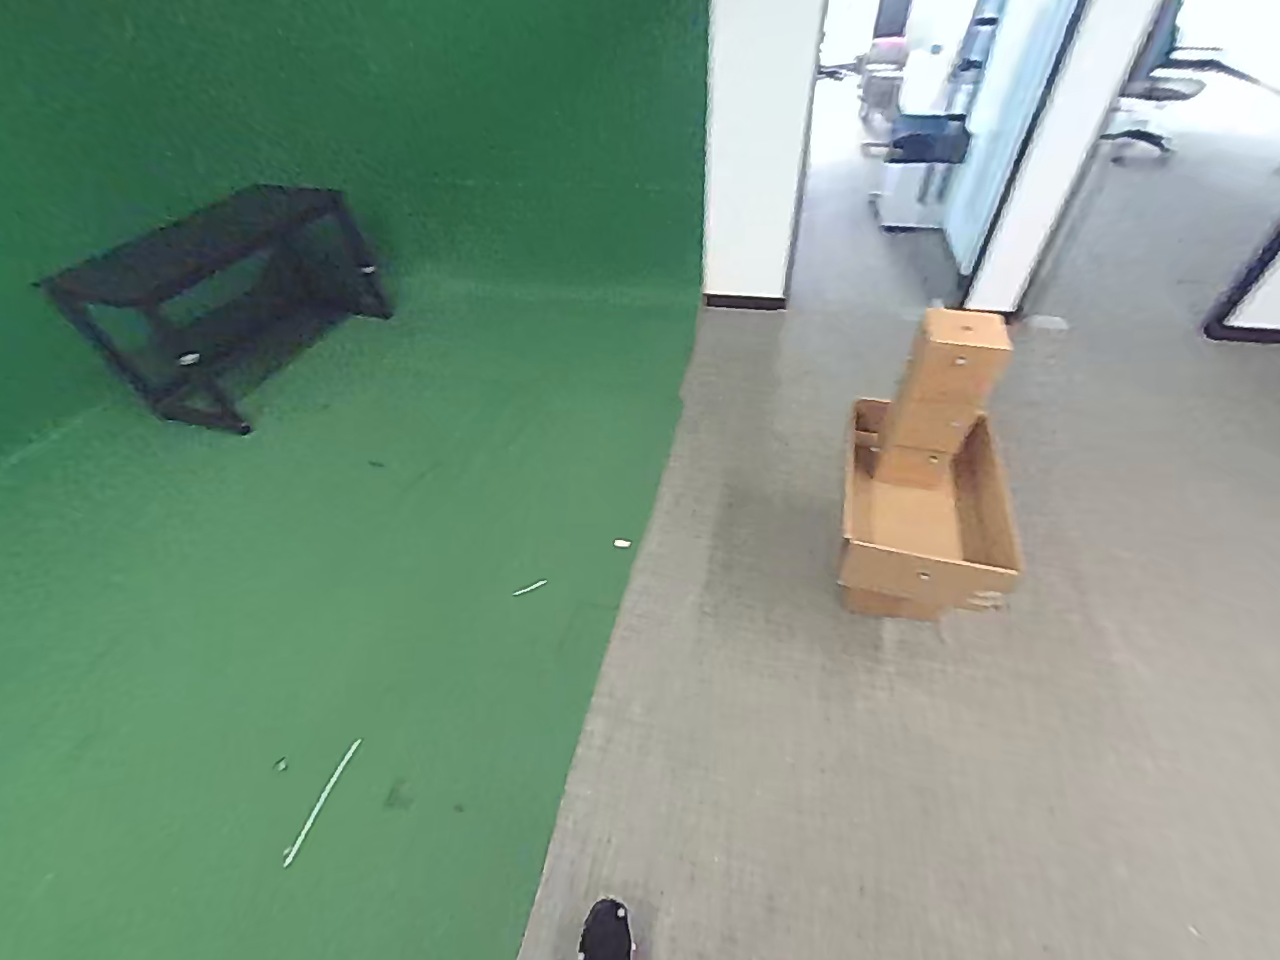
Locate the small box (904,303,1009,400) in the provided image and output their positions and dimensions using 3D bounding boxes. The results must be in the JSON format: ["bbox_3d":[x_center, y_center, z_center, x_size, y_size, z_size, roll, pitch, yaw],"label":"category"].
[{"bbox_3d":[0.791,-0.323,1.370,0.179,0.176,0.168,10,48,12],"label":"small box"}]
